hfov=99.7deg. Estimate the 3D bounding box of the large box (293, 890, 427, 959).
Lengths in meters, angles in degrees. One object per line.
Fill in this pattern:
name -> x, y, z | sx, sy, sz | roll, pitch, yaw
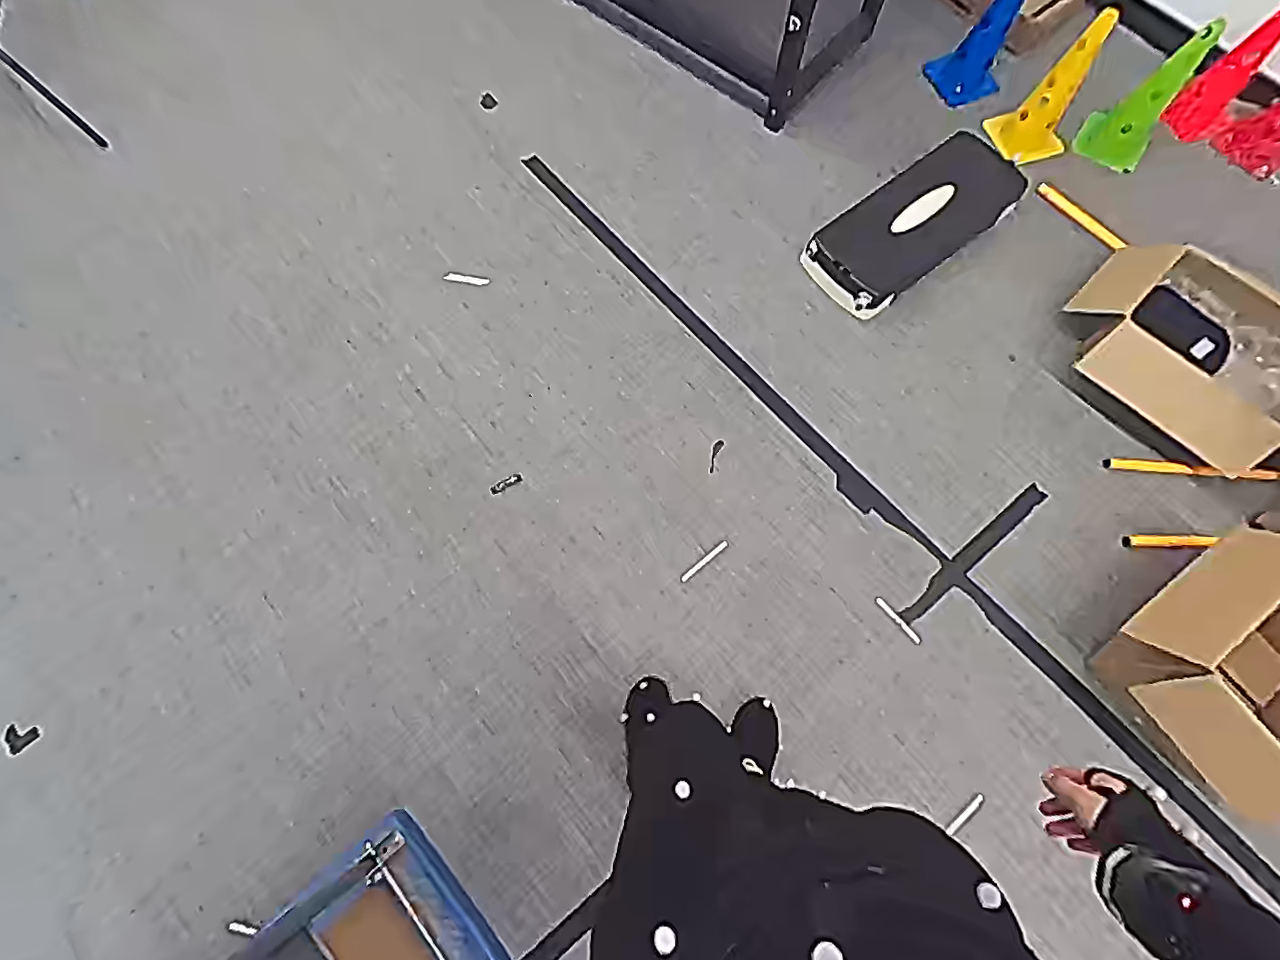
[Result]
large box -> -0.480, 0.973, 0.825 | 0.320, 0.320, 0.408 | -40, 76, -11
